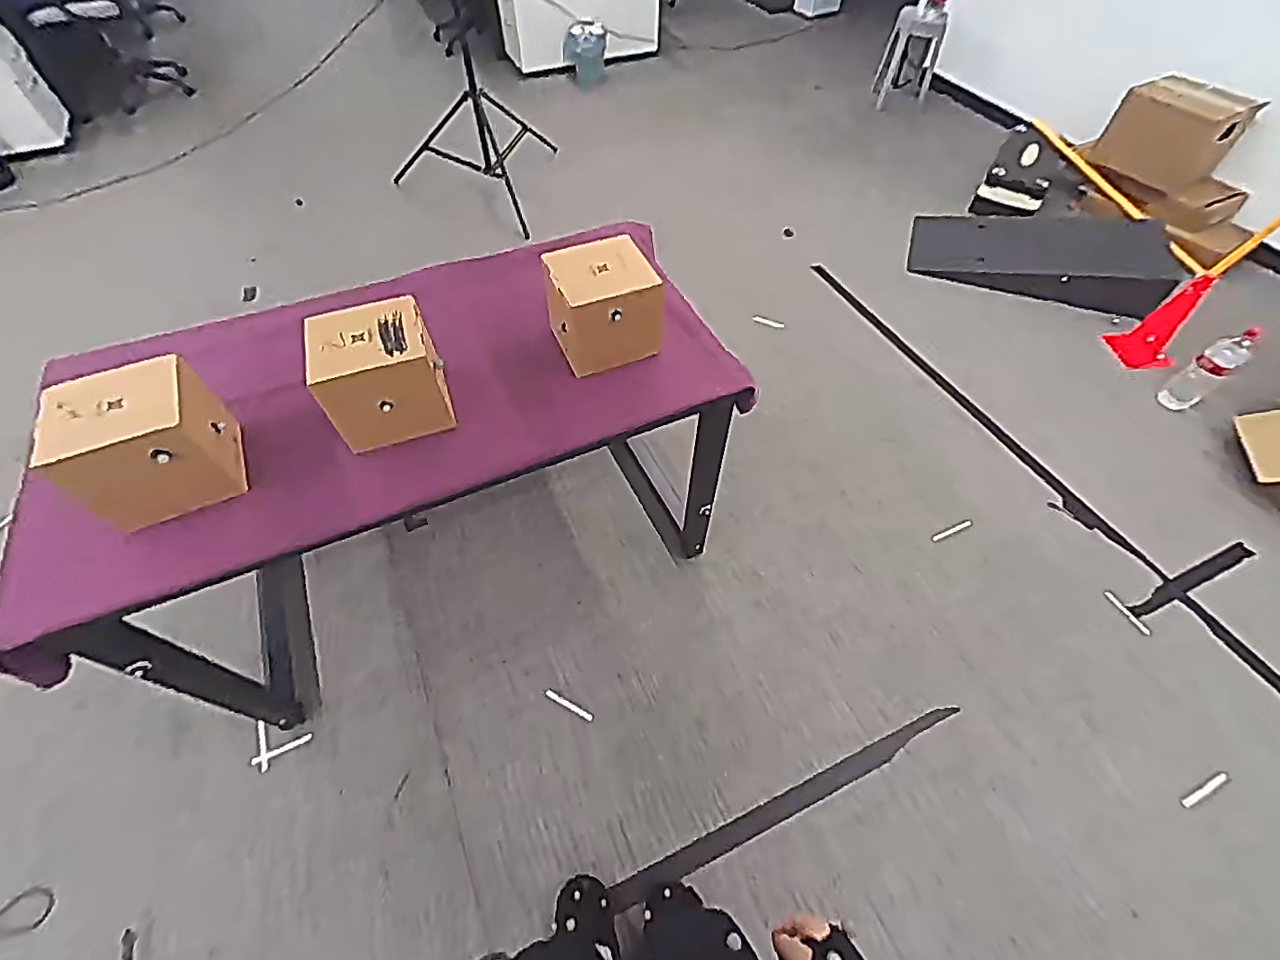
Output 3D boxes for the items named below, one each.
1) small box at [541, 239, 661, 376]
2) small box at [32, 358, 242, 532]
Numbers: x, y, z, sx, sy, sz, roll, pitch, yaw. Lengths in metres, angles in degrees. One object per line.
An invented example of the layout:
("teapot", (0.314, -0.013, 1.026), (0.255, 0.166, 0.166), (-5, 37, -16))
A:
("small box", (-0.072, -0.323, 1.030), (0.179, 0.176, 0.168), (-19, 58, -15))
("small box", (-0.743, -0.051, 0.825), (0.179, 0.176, 0.168), (-23, 57, -16))
